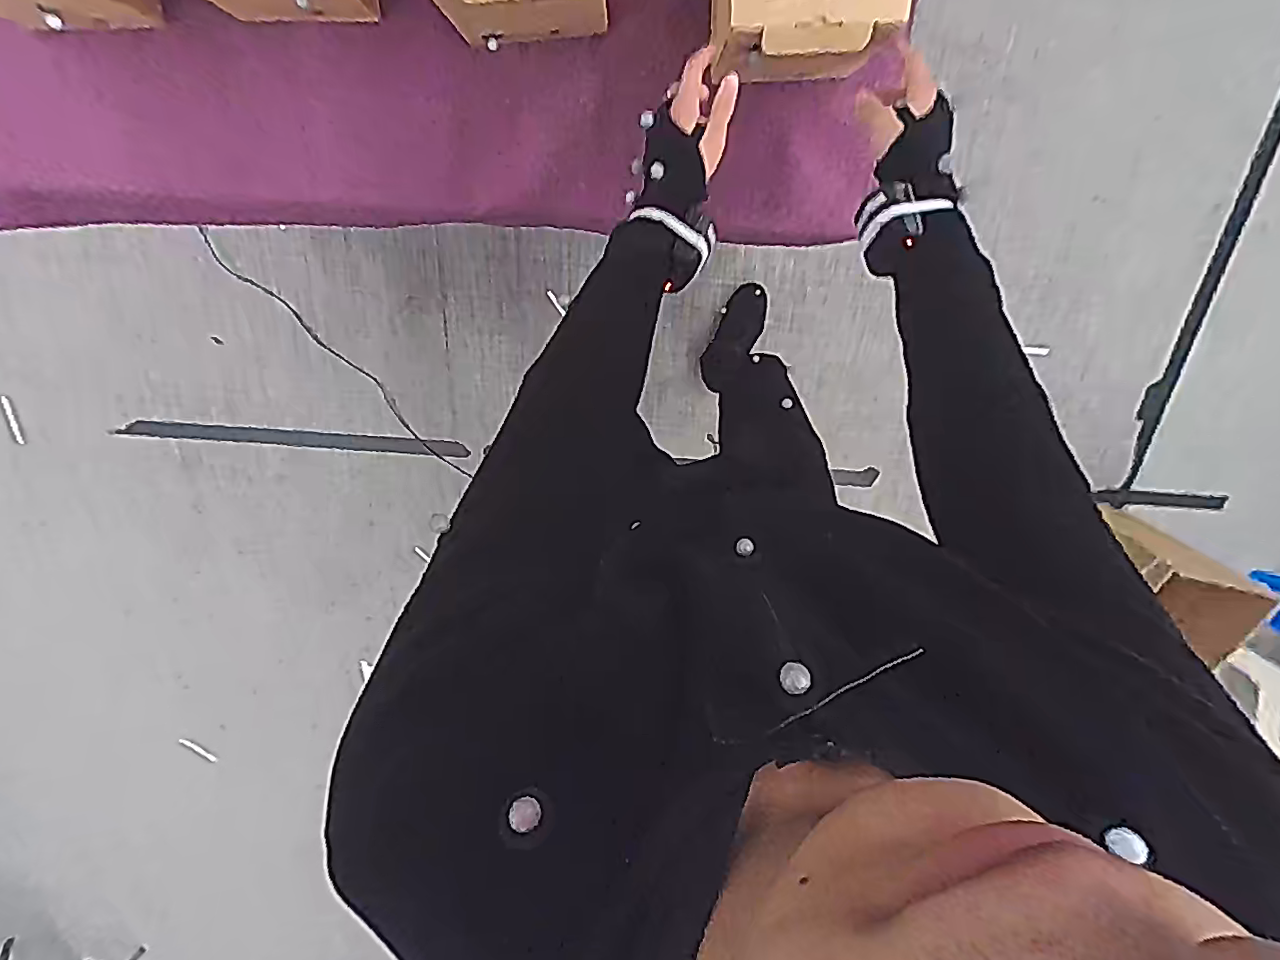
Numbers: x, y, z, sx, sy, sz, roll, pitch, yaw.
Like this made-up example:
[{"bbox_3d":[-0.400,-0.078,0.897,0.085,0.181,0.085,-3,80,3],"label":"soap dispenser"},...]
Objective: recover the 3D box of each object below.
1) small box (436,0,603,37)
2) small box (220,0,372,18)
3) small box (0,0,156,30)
[{"bbox_3d":[-0.129,-0.564,0.524,0.168,0.176,0.179,-5,112,1],"label":"small box"},{"bbox_3d":[-0.382,-0.579,0.518,0.168,0.176,0.179,0,112,-1],"label":"small box"},{"bbox_3d":[-0.632,-0.571,0.516,0.168,0.176,0.179,-1,113,0],"label":"small box"}]
